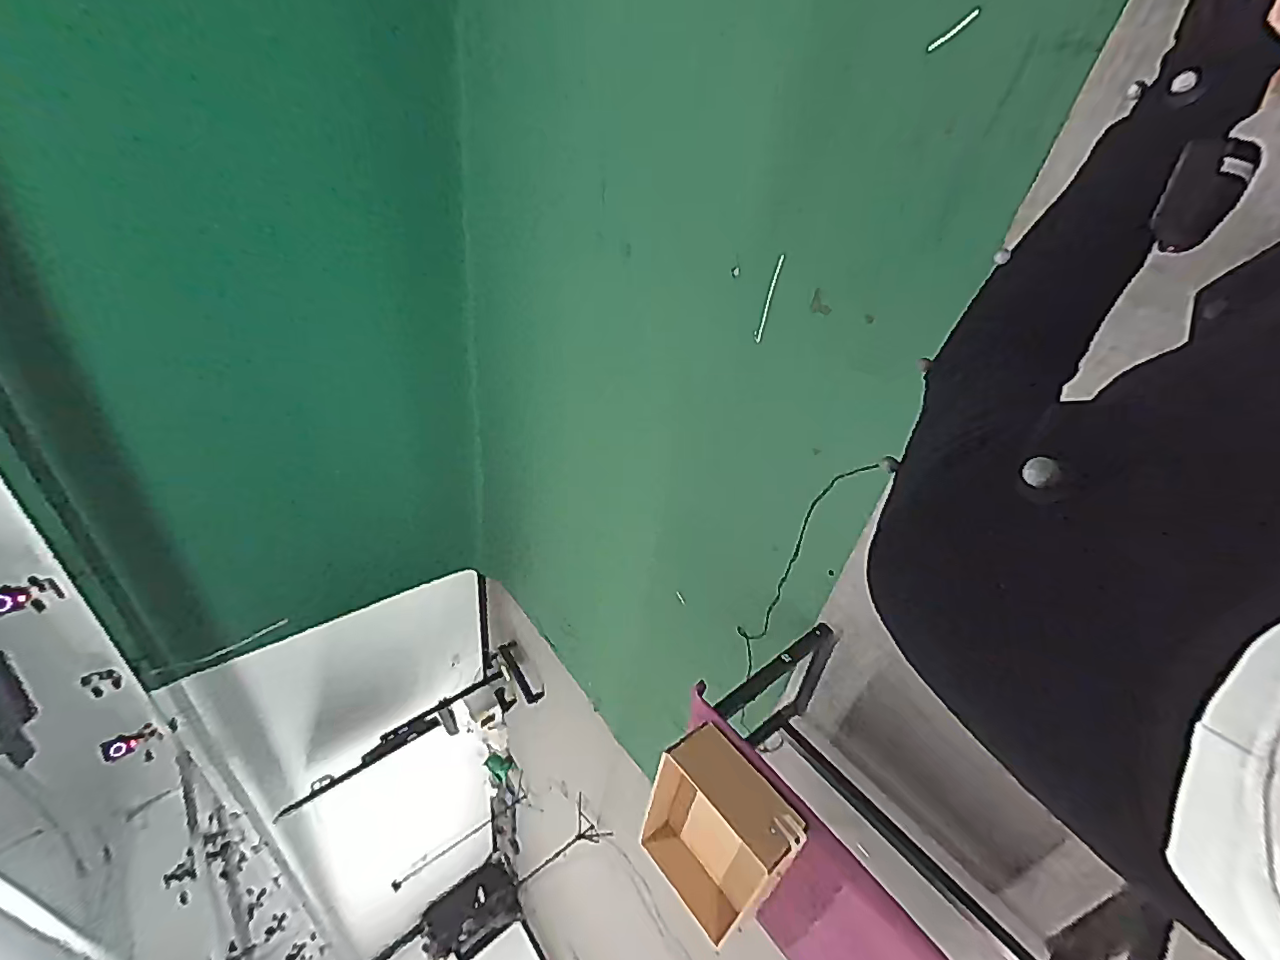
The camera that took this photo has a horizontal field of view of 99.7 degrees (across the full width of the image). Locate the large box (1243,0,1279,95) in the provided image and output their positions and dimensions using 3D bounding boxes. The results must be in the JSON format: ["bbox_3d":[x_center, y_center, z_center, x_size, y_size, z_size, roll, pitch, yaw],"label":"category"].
[{"bbox_3d":[1.135,-0.809,0.732,0.408,0.320,0.320,1,106,53],"label":"large box"}]
